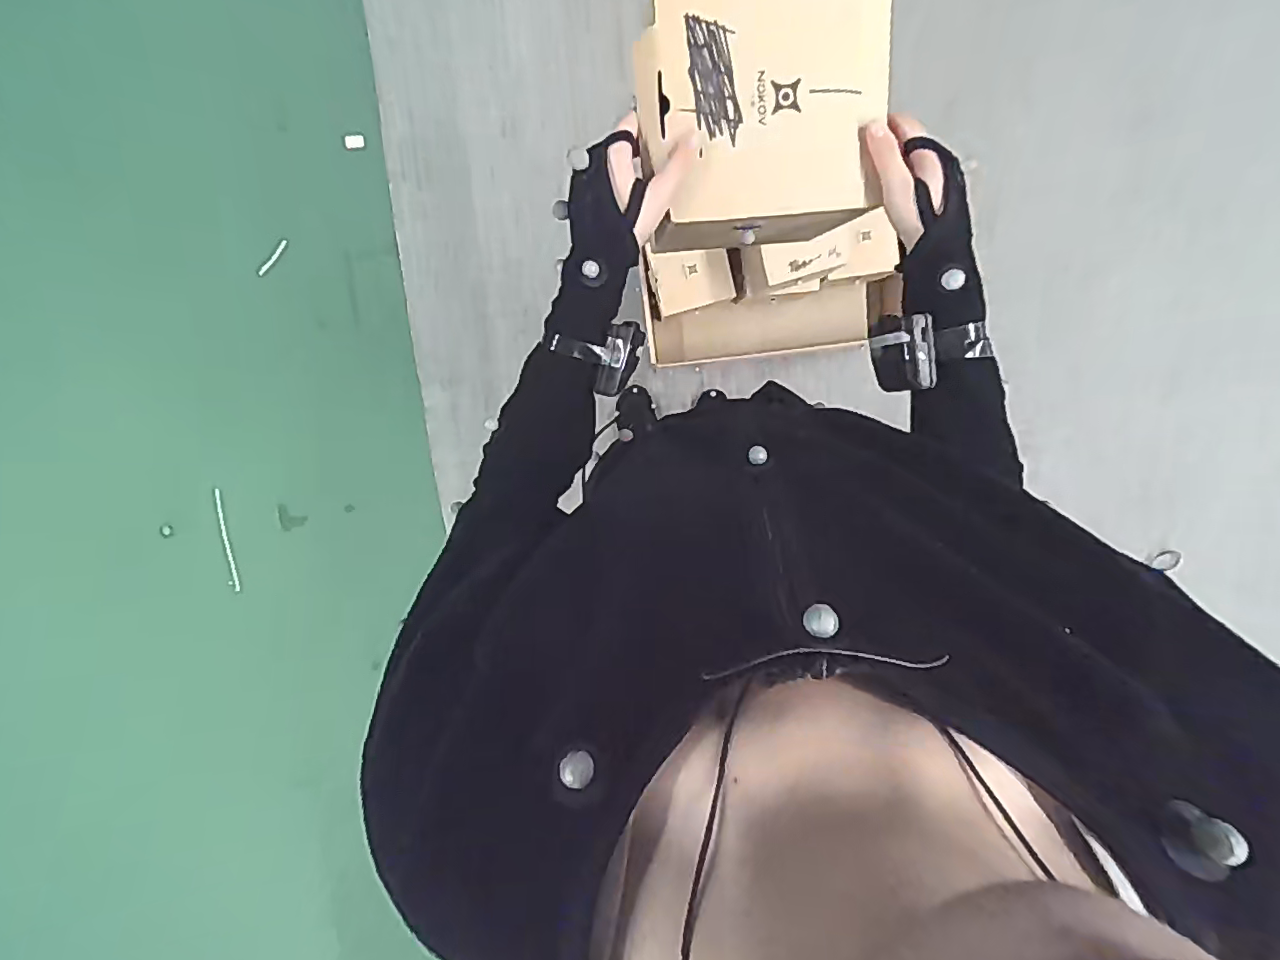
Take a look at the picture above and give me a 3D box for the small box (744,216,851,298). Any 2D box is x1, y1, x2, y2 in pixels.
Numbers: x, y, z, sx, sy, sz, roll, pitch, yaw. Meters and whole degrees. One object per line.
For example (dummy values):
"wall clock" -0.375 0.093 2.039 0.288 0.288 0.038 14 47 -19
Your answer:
"small box" 0.315 -0.496 1.123 0.168 0.176 0.179 -15 100 5

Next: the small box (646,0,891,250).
"small box" 0.097 -0.309 0.482 0.179 0.176 0.168 -5 105 -2
